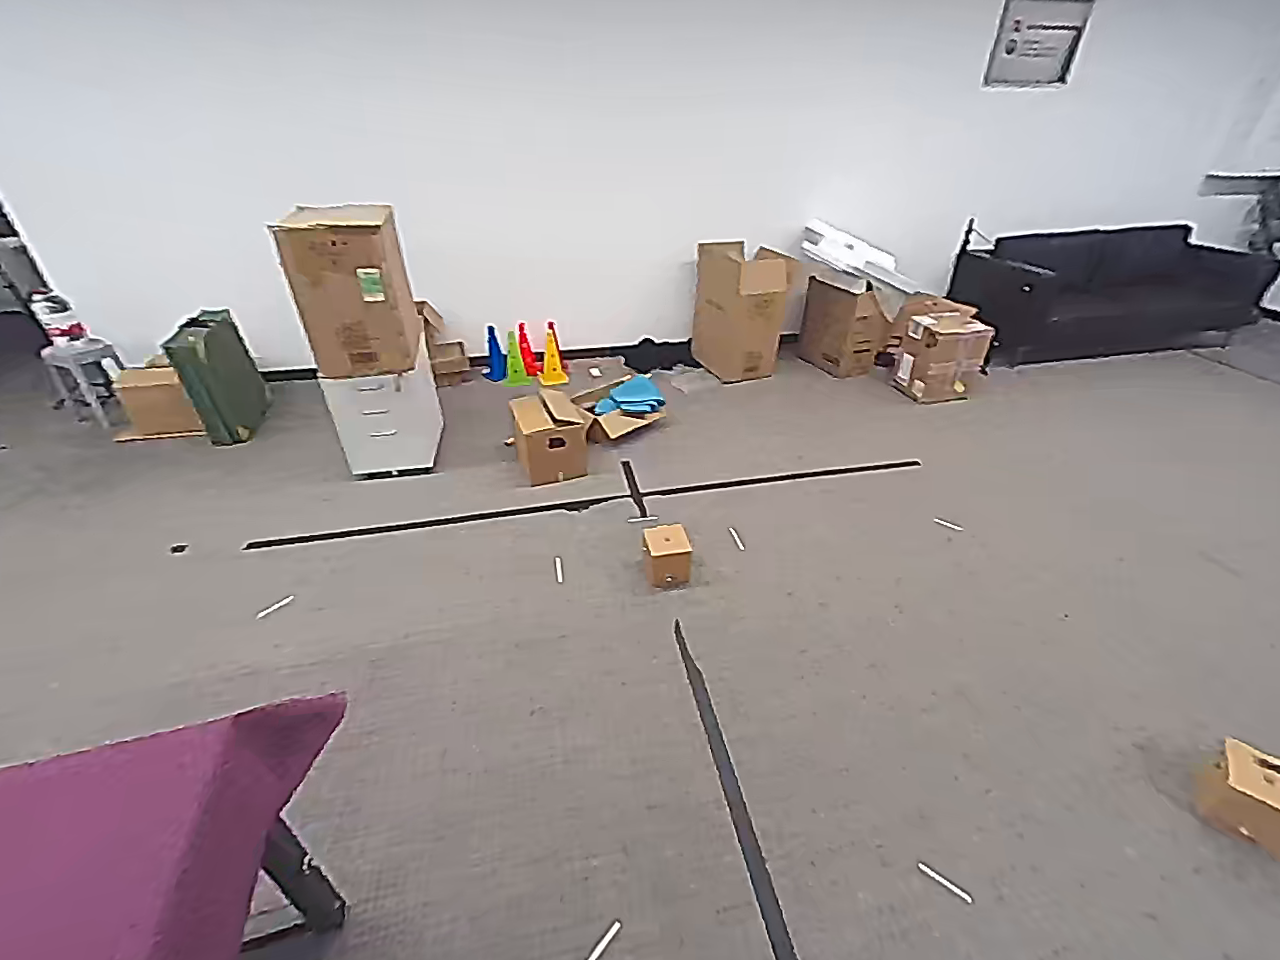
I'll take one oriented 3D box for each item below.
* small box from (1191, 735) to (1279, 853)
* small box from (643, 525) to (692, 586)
[{"bbox_3d":[1.621,0.835,1.440,0.168,0.176,0.179,23,41,31],"label":"small box"},{"bbox_3d":[0.108,0.309,2.220,0.168,0.176,0.179,-7,35,-10],"label":"small box"}]
